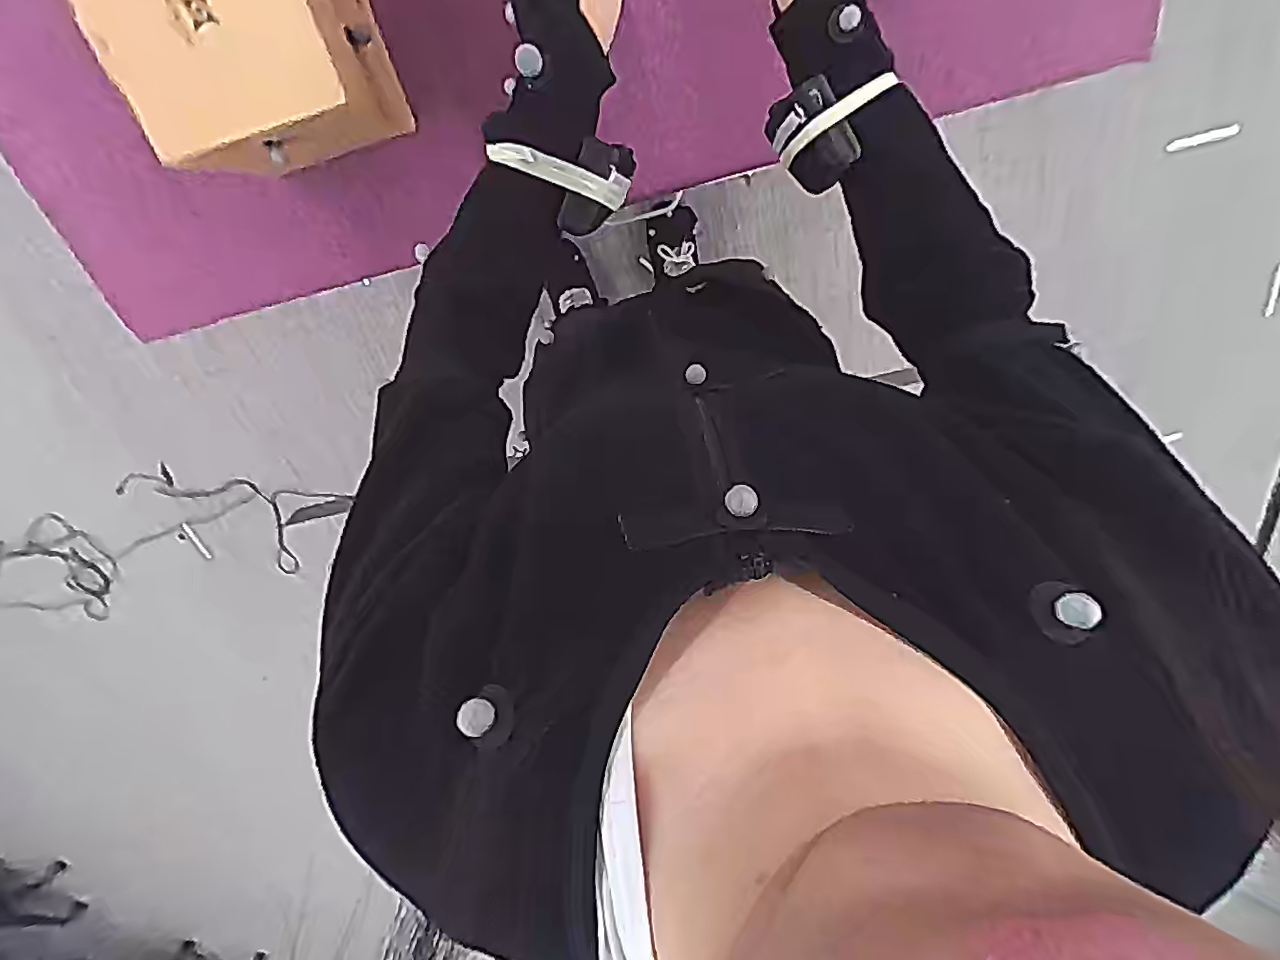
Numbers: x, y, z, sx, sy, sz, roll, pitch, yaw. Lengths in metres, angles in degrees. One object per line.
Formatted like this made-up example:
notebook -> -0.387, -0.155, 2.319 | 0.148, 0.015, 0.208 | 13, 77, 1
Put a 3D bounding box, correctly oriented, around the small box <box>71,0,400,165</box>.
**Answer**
small box -> -0.342, -0.397, 0.483 | 0.179, 0.176, 0.168 | -13, 117, 6
